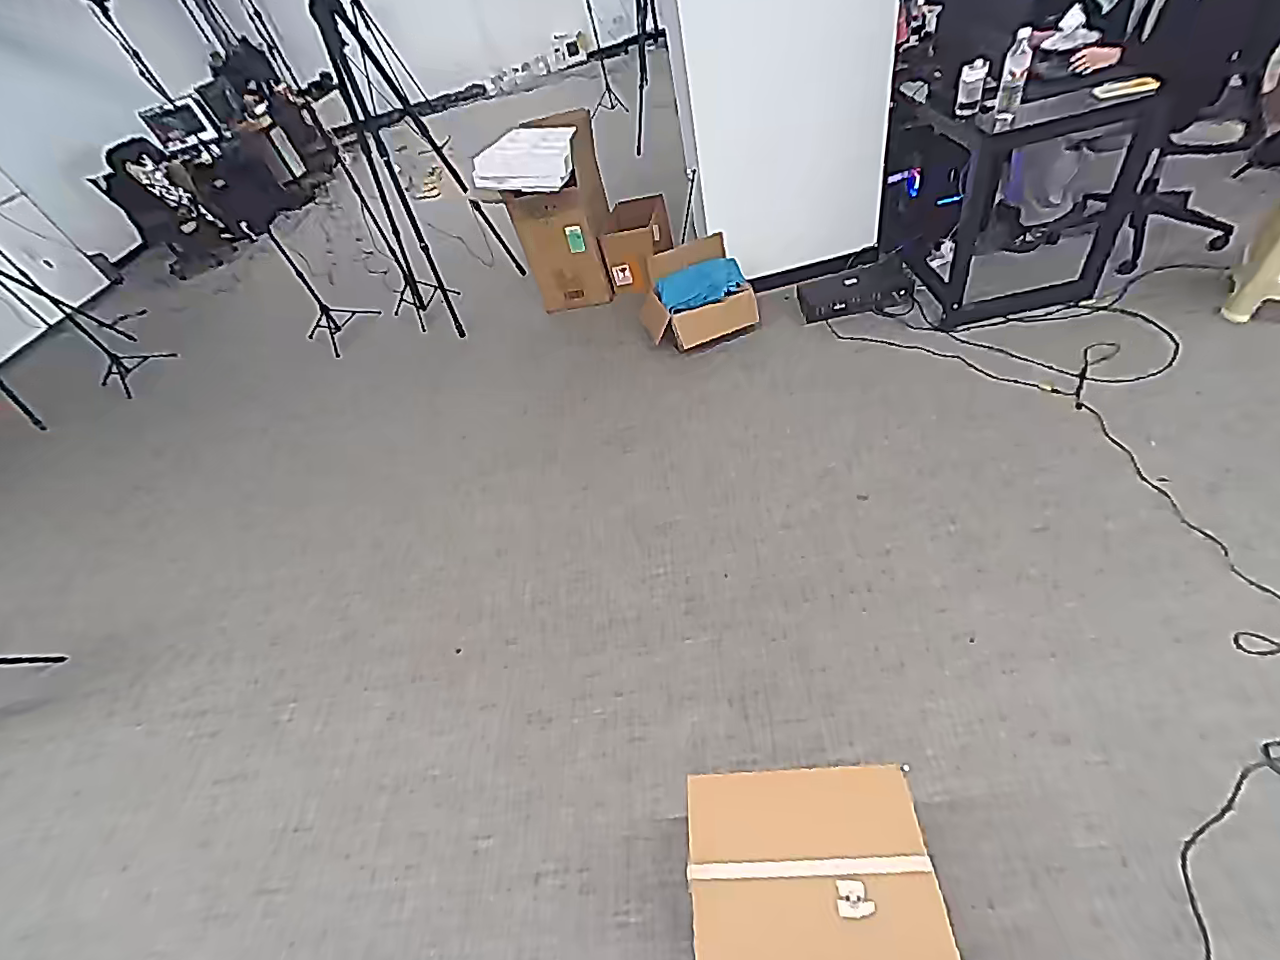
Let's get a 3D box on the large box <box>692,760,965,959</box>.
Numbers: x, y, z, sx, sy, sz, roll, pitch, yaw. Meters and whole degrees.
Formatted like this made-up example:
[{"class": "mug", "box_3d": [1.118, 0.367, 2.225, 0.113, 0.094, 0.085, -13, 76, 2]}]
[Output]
[{"class": "large box", "box_3d": [0.328, 0.765, 1.038, 0.408, 0.320, 0.320, -9, 46, 9]}]
